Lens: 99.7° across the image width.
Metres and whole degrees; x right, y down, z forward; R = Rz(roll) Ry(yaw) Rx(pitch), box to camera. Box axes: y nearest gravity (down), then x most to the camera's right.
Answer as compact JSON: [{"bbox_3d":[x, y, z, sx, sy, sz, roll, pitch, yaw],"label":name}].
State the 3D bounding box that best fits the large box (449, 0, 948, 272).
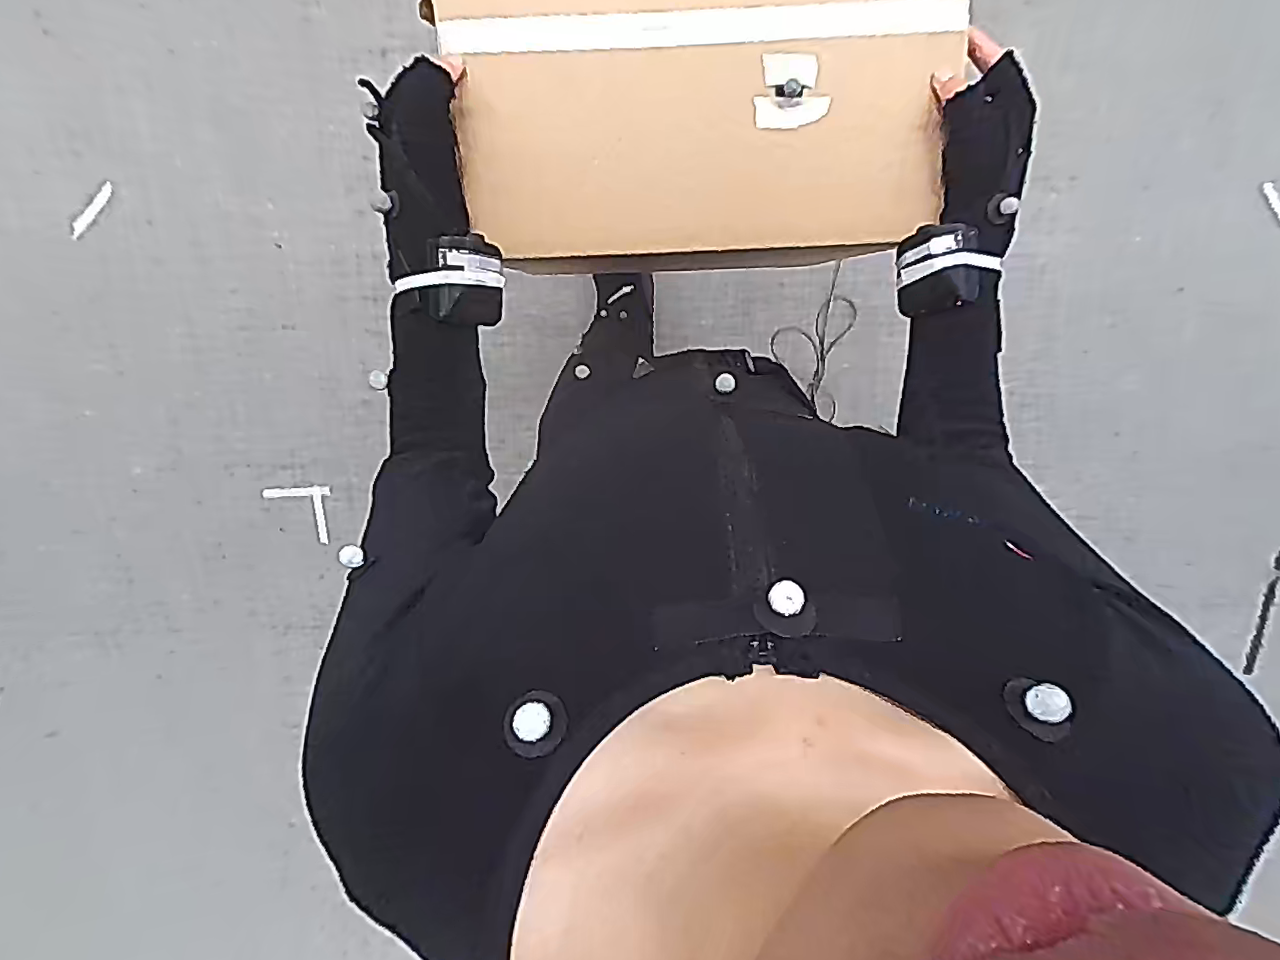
[{"bbox_3d":[0.044,-0.406,0.576,0.408,0.320,0.320,-3,109,-1],"label":"large box"}]
